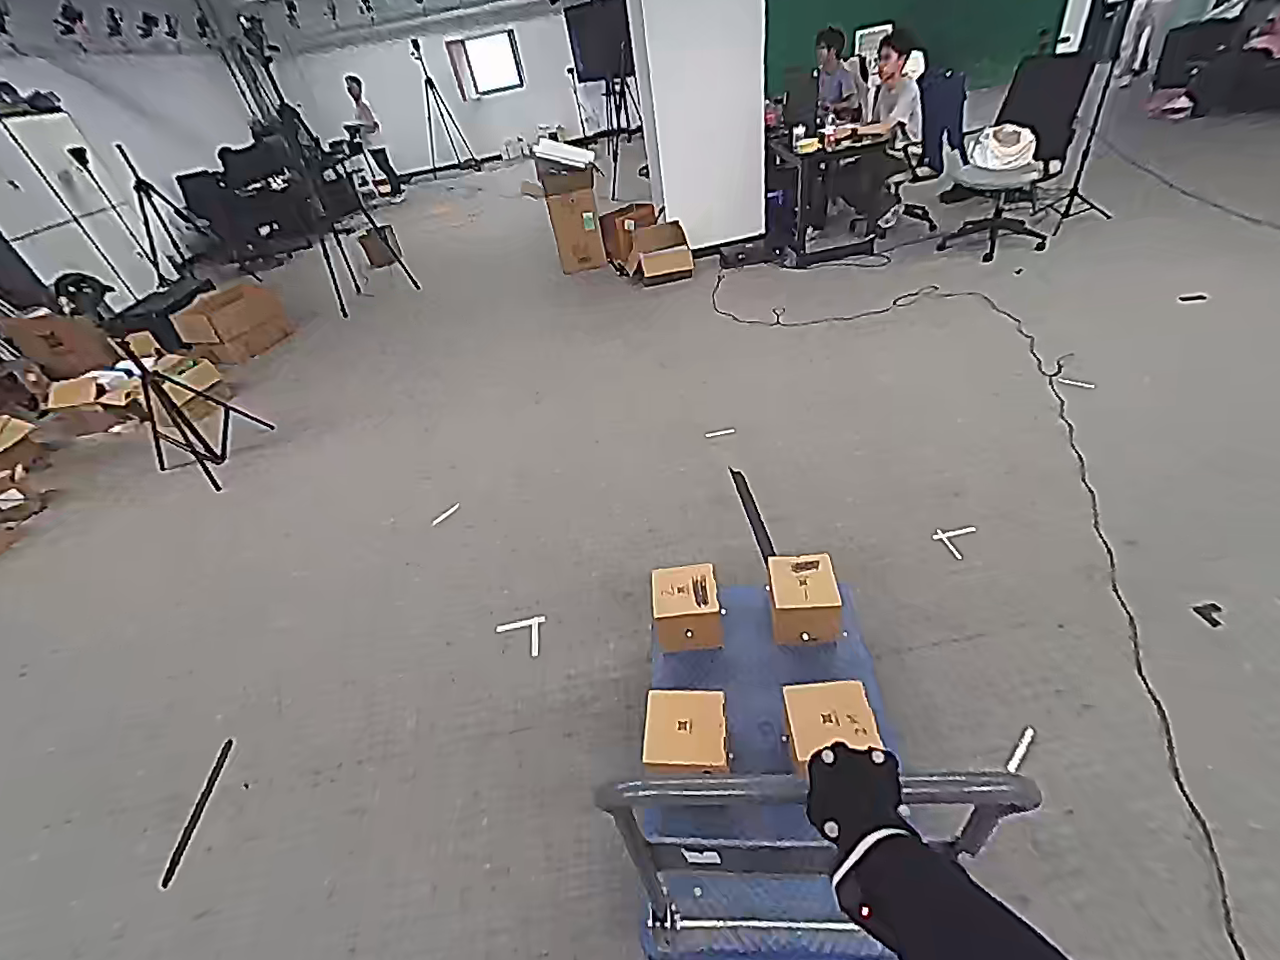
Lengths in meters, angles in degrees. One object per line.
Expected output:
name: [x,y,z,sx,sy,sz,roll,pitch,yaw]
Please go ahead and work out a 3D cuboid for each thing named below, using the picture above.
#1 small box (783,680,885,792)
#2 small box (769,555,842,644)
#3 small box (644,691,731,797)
small box: [0.419,0.567,1.190,0.179,0.176,0.168,-7,39,6]
small box: [0.444,0.327,1.479,0.168,0.176,0.179,-5,40,8]
small box: [0.113,0.600,1.230,0.179,0.176,0.168,-3,39,9]
